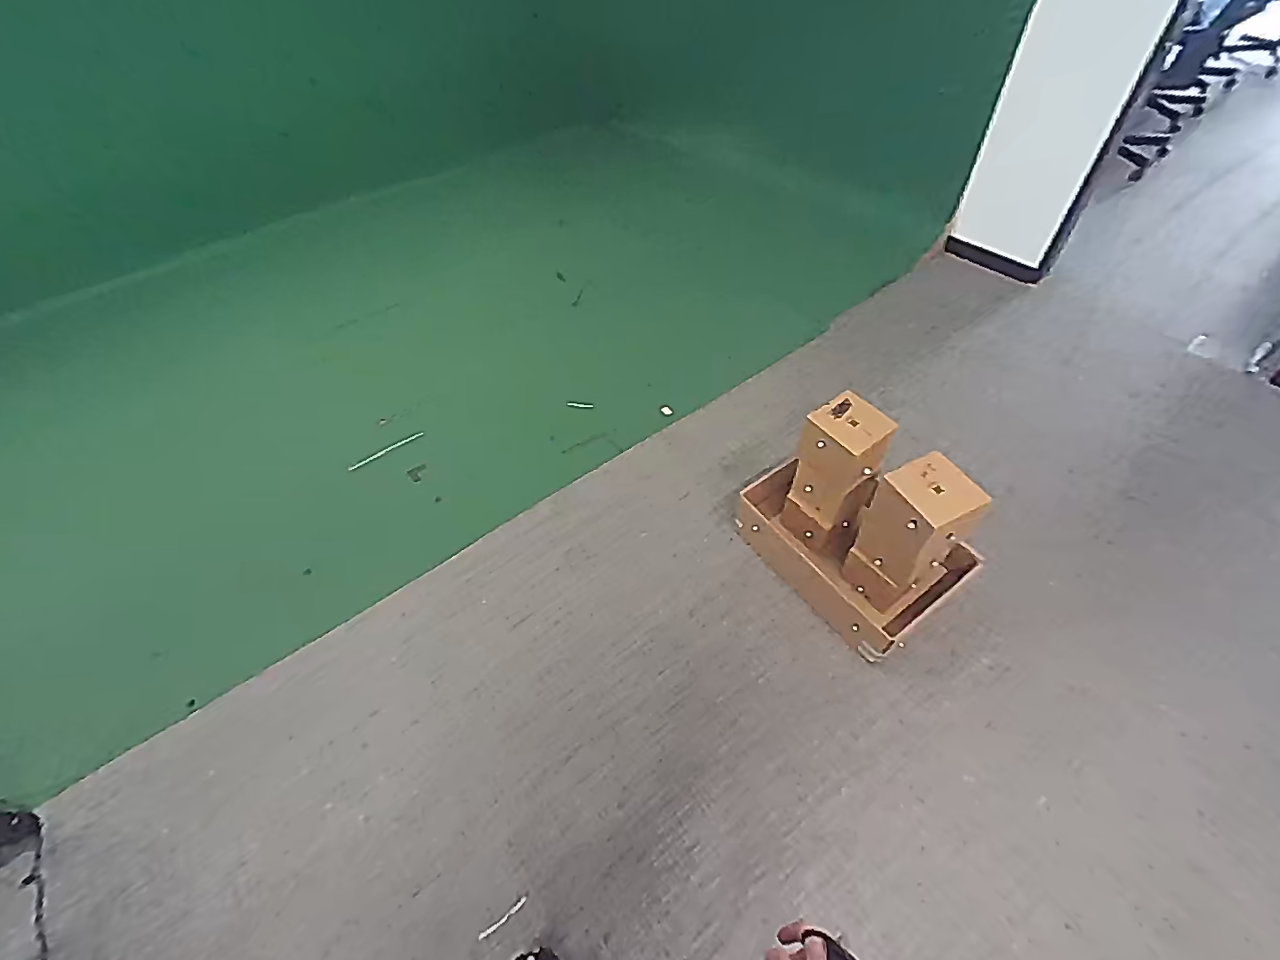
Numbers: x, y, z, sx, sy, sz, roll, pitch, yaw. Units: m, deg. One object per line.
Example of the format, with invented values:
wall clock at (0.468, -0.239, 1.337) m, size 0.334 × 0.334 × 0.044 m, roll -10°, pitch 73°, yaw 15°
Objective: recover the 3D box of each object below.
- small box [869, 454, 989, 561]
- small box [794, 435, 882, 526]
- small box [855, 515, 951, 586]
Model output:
small box at (0.694, 0.075, 1.321) m, size 0.168 × 0.176 × 0.179 m, roll -23°, pitch 52°, yaw -11°
small box at (0.577, 0.007, 1.606) m, size 0.179 × 0.176 × 0.168 m, roll -33°, pitch 58°, yaw -19°
small box at (0.715, 0.164, 1.460) m, size 0.168 × 0.176 × 0.179 m, roll -29°, pitch 54°, yaw -16°
